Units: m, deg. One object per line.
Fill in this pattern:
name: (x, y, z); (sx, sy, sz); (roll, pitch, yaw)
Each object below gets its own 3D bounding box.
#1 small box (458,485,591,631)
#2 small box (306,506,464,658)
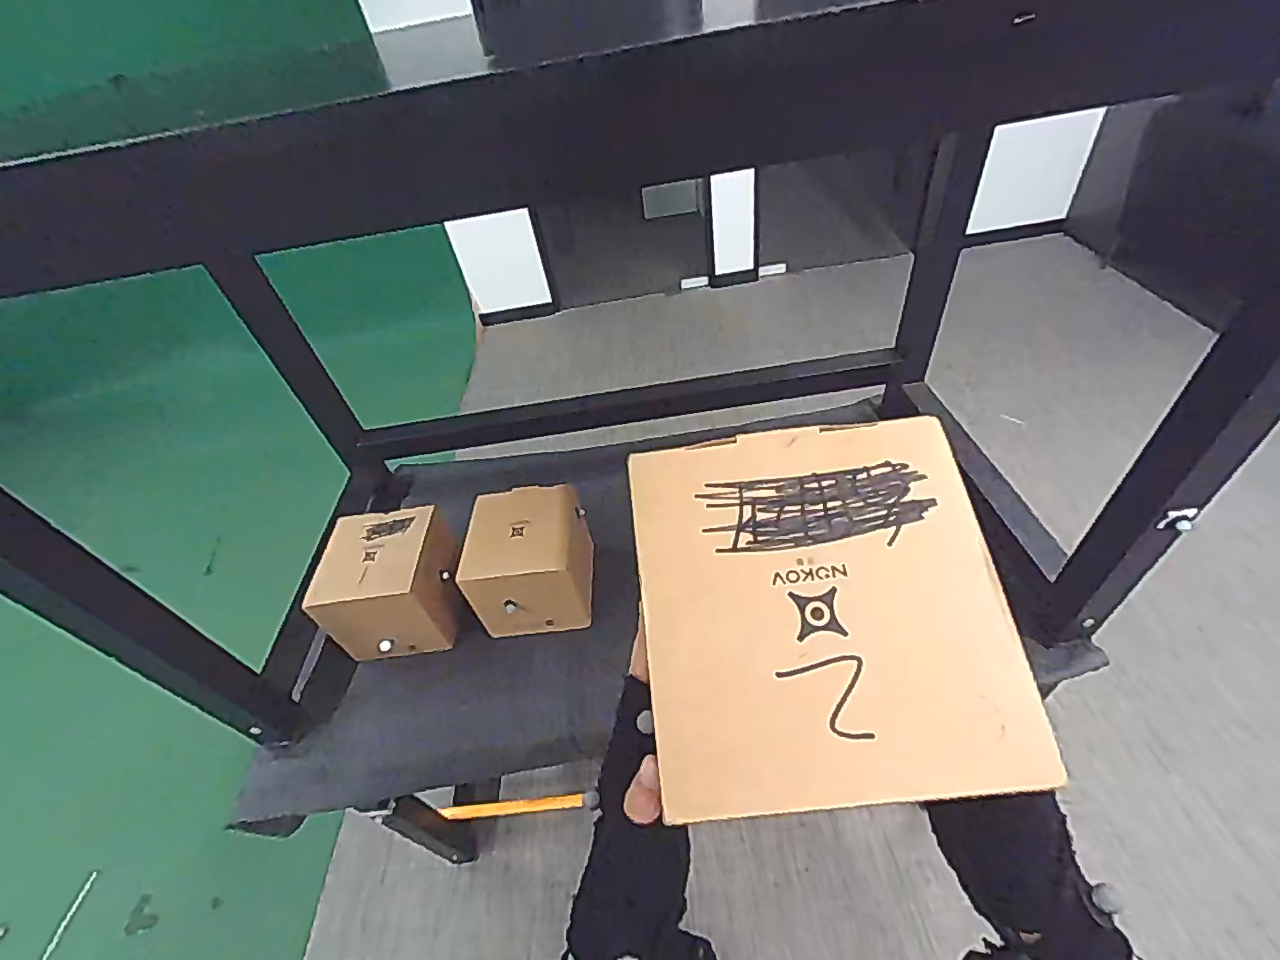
small box: (-0.178, 0.135, 0.894); (0.168, 0.176, 0.179); (-7, 43, 4)
small box: (-0.403, 0.170, 0.898); (0.168, 0.176, 0.179); (-8, 44, 3)
